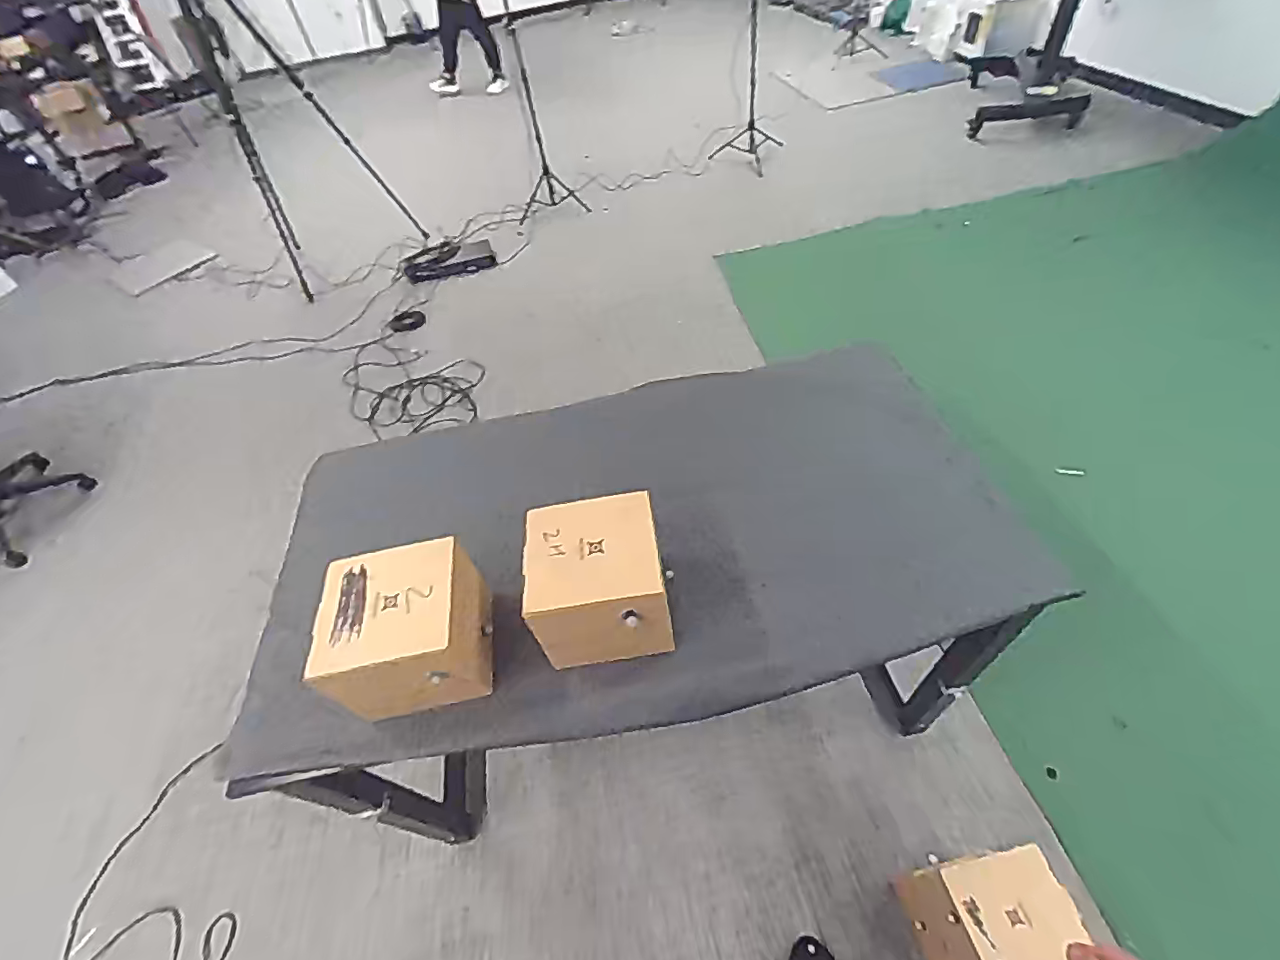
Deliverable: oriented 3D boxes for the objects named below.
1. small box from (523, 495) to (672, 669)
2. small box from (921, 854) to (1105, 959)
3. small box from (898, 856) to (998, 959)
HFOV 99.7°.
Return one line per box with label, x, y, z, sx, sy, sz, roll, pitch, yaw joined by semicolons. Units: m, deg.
small box;-0.052;0.147;0.761;0.179;0.176;0.168;-10;48;3
small box;0.606;0.739;0.897;0.179;0.176;0.168;-12;51;-1
small box;0.622;0.843;1.024;0.168;0.176;0.179;-14;49;-3
